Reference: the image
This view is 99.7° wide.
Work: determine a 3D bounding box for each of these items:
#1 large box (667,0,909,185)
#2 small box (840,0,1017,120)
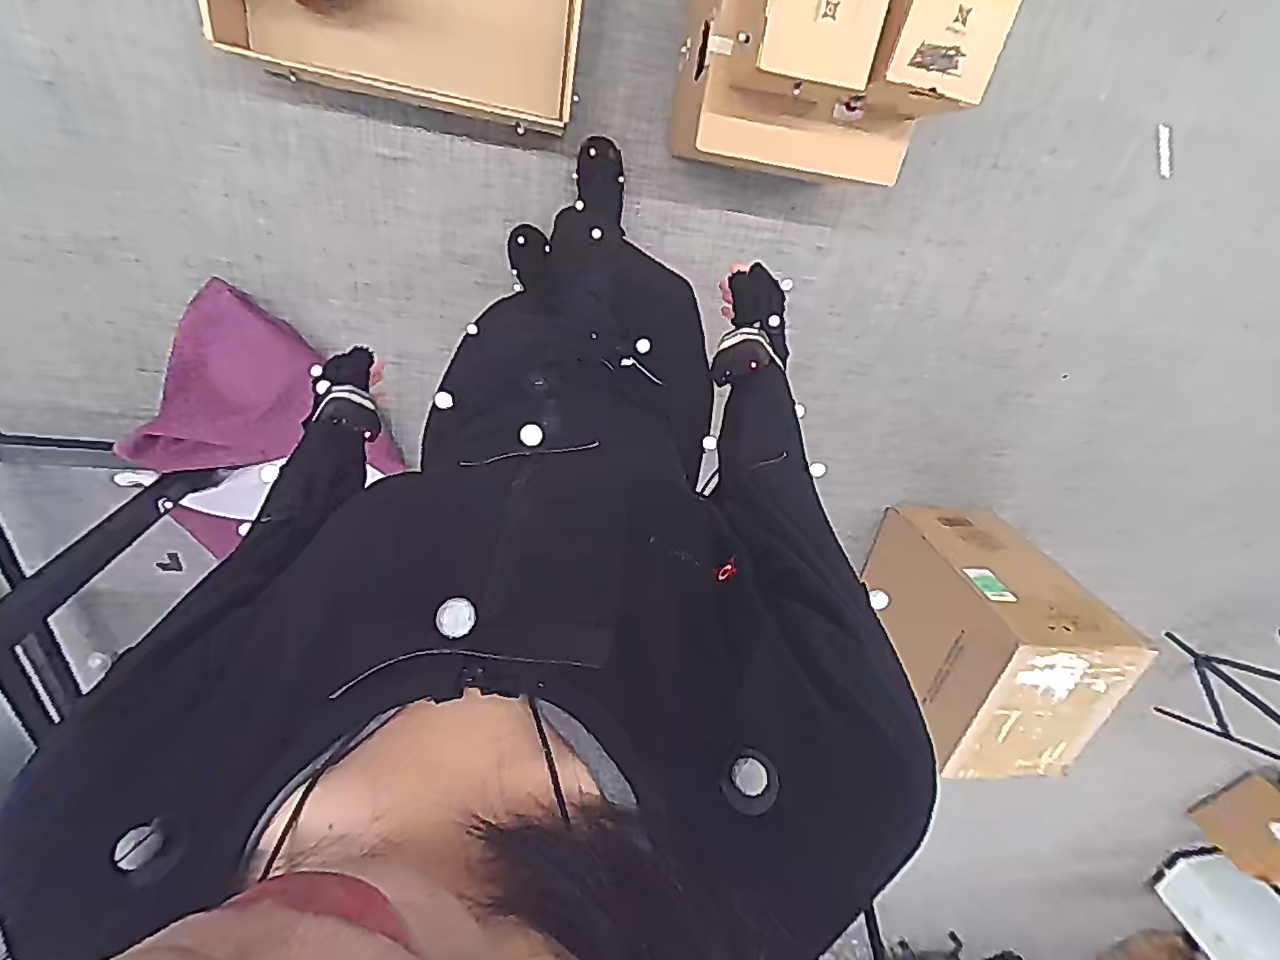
[{"bbox_3d":[0.291,-0.789,1.076,0.408,0.320,0.320,3,119,-11],"label":"large box"},{"bbox_3d":[0.449,-0.703,0.866,0.168,0.176,0.179,8,116,-12],"label":"small box"}]
